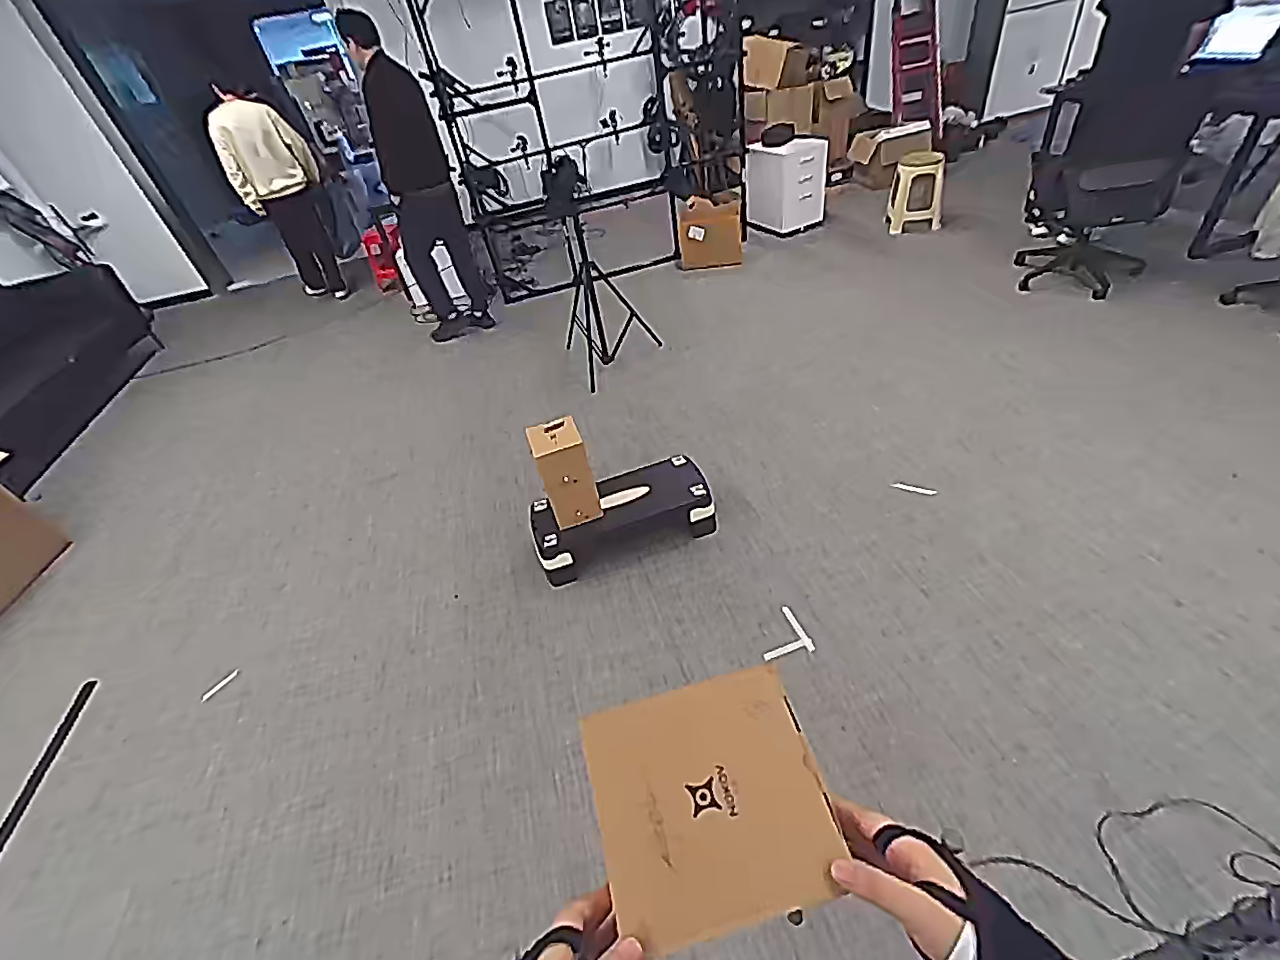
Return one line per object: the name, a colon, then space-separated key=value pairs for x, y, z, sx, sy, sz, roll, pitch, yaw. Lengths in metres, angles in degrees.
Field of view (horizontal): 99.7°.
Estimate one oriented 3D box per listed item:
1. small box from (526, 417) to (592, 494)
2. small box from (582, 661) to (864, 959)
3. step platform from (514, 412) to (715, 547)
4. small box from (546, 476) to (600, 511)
small box: x=-0.276 y=-0.083 z=1.843 sx=0.168 sy=0.176 sz=0.179 roll=-19 pitch=41 yaw=-9
small box: x=0.060 y=0.286 z=0.479 sx=0.179 sy=0.176 sz=0.168 roll=-16 pitch=54 yaw=-5
step platform: x=-0.084 y=-0.006 z=1.908 sx=0.684 sy=0.204 sz=0.286 roll=-18 pitch=40 yaw=-8
small box: x=-0.247 y=0.043 z=1.945 sx=0.168 sy=0.176 sz=0.179 roll=-18 pitch=41 yaw=-8
